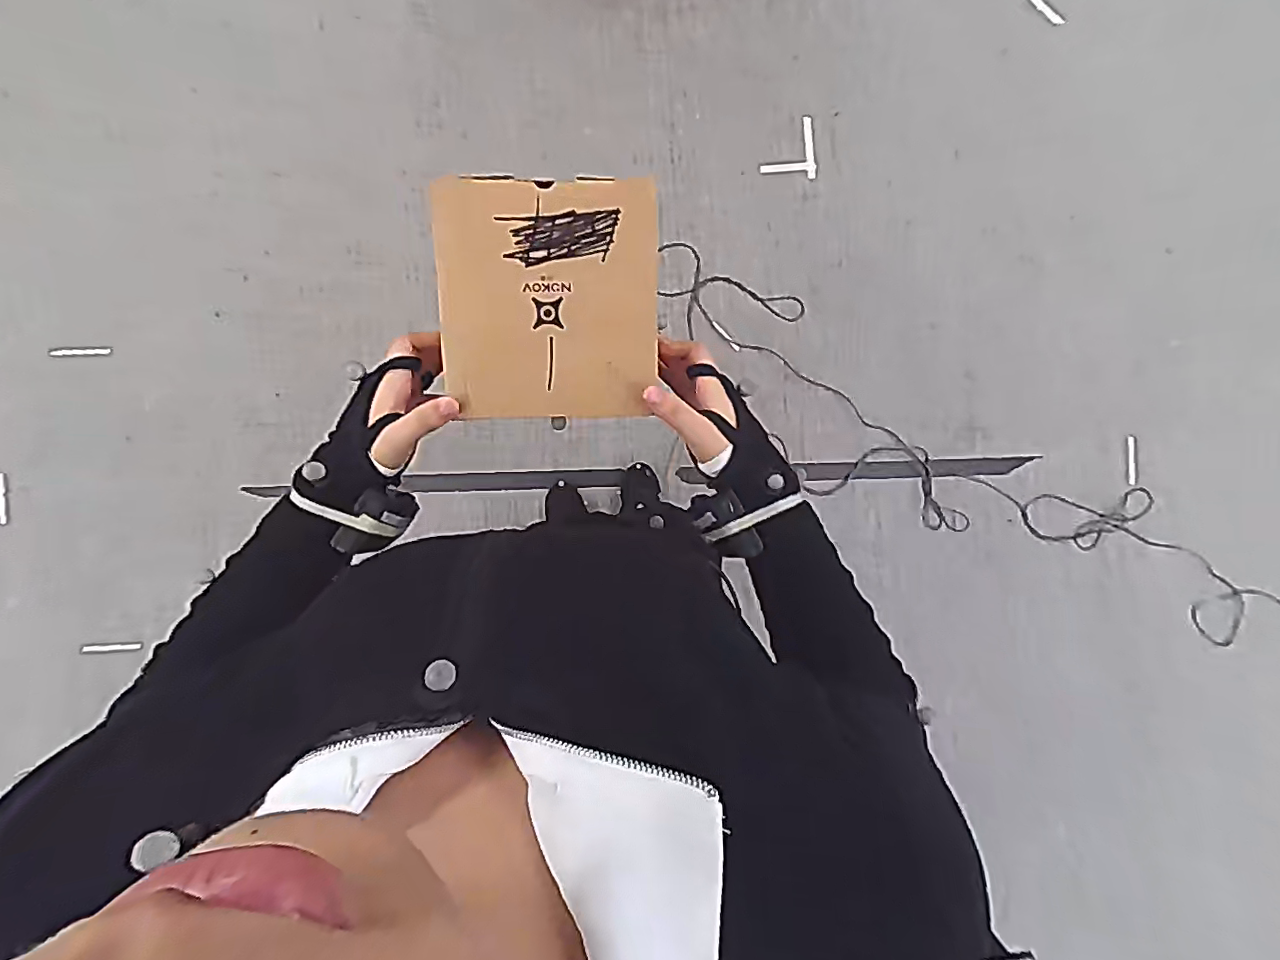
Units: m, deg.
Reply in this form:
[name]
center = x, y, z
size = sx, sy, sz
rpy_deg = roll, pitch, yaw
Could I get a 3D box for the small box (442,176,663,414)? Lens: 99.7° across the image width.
[small box]
center = -0.069, -0.150, 0.491
size = 0.168, 0.176, 0.179
rpy_deg = -2, 99, -3
